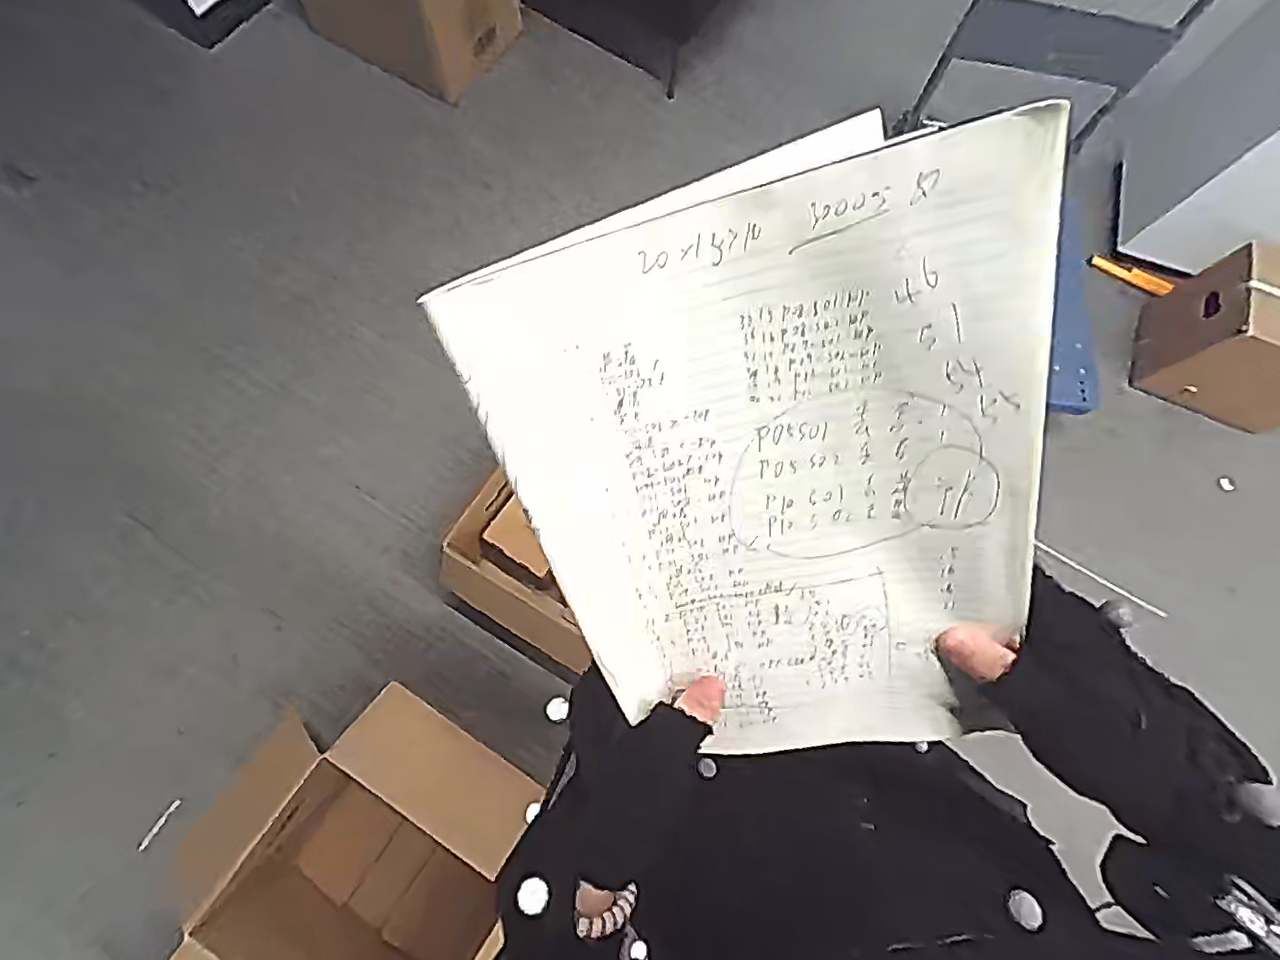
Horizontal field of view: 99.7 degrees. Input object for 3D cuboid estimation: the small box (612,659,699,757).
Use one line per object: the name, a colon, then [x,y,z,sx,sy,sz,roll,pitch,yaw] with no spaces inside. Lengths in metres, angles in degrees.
small box: [0.037,0.508,1.223,0.179,0.176,0.168,-1,84,12]
